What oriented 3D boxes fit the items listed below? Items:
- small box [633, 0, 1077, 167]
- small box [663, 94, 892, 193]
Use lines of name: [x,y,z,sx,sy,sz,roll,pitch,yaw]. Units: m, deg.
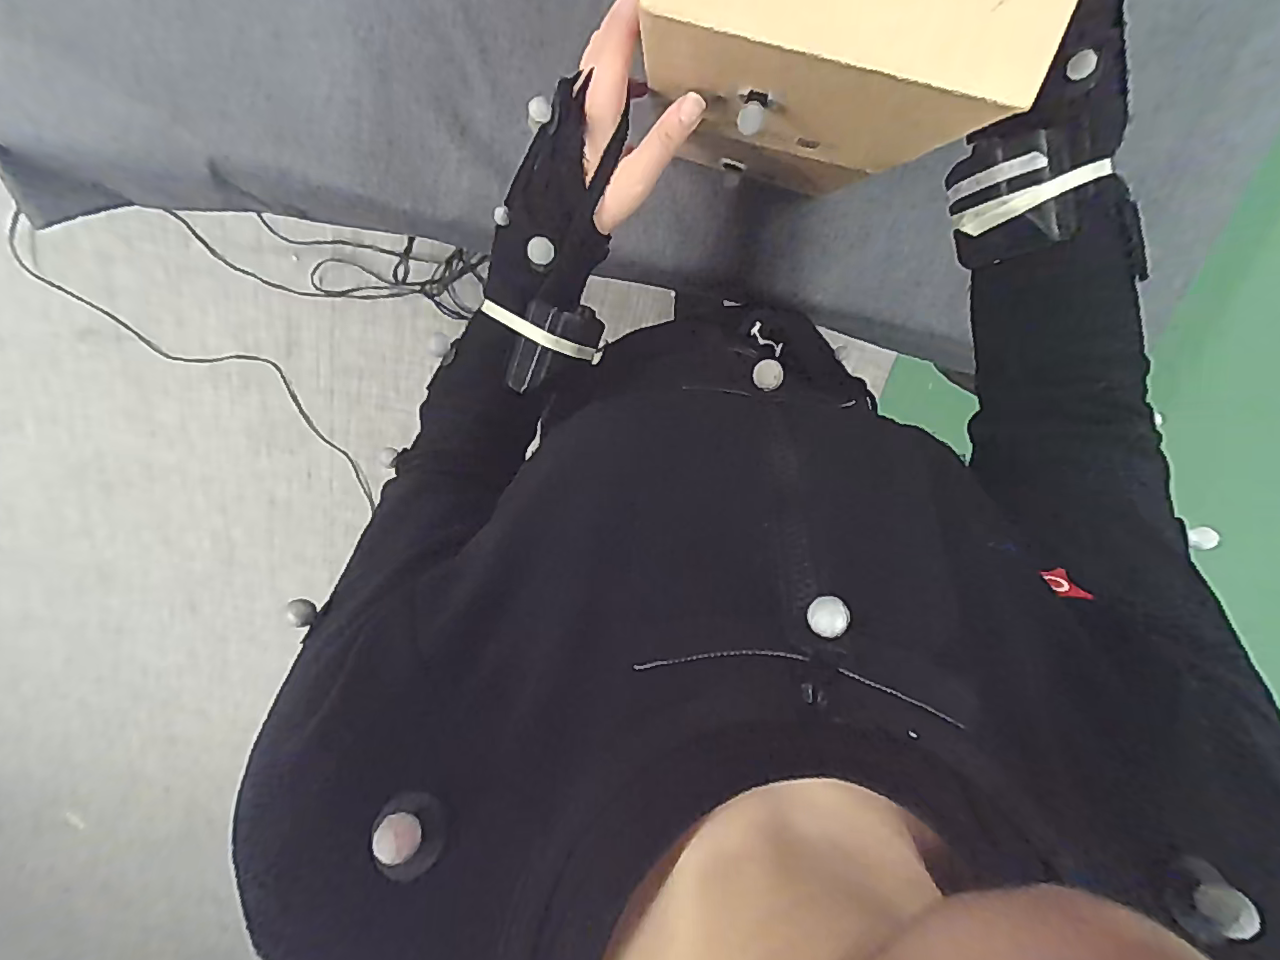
small box: [0.101,-0.272,0.255,0.168,0.176,0.179,13,110,-1]
small box: [0.116,-0.337,0.404,0.168,0.176,0.179,14,112,-2]
